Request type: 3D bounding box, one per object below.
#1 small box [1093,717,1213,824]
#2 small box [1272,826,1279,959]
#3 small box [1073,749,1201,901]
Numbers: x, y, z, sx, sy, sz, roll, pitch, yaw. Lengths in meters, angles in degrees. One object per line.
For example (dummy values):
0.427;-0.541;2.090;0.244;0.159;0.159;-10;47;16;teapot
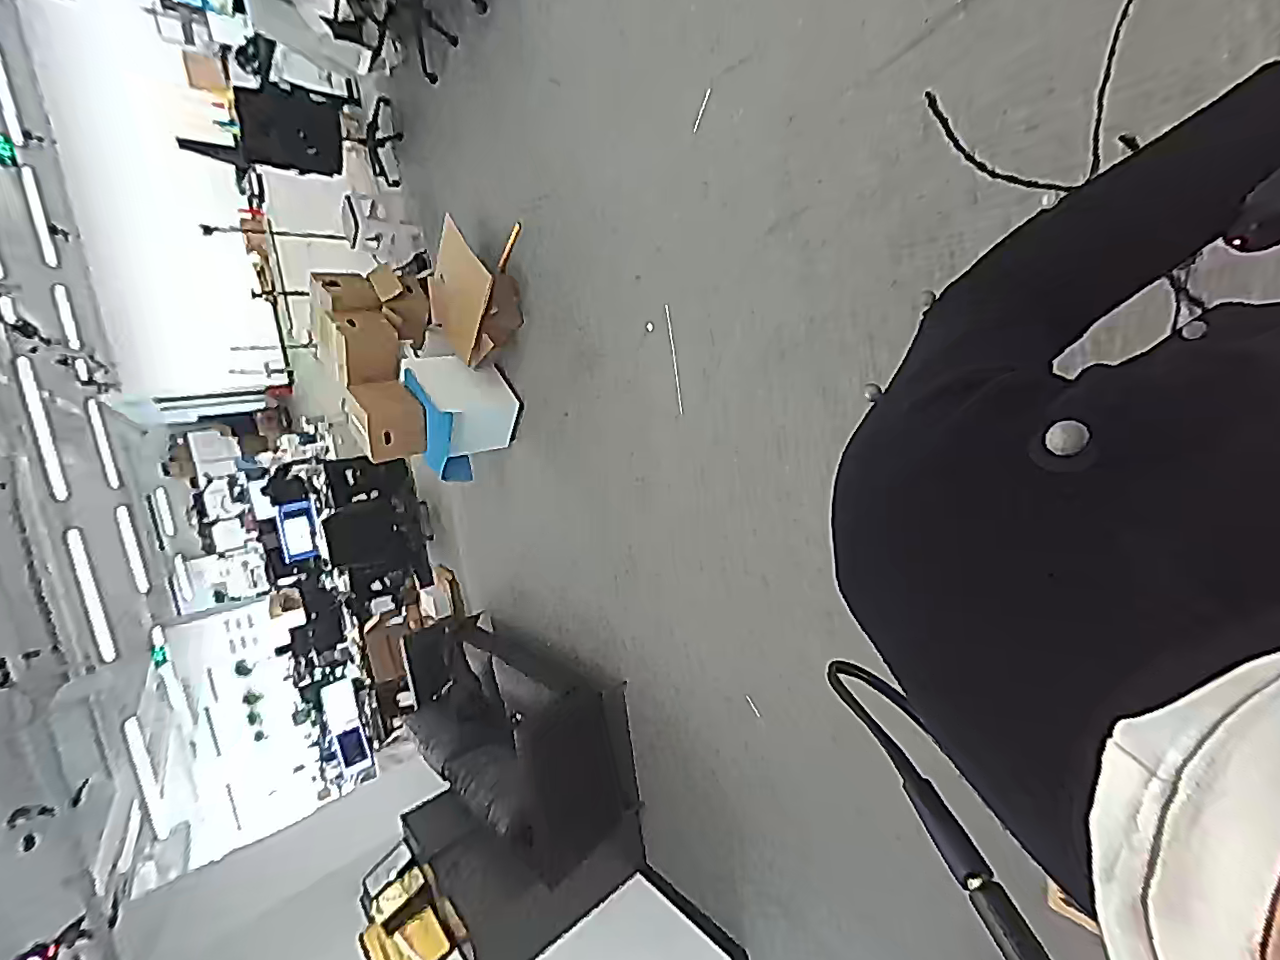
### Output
1.172;0.677;1.243;0.179;0.176;0.168;11;110;49;small box
1.222;0.747;0.932;0.168;0.176;0.179;0;102;53;small box
1.050;0.713;1.142;0.168;0.176;0.179;11;110;51;small box
